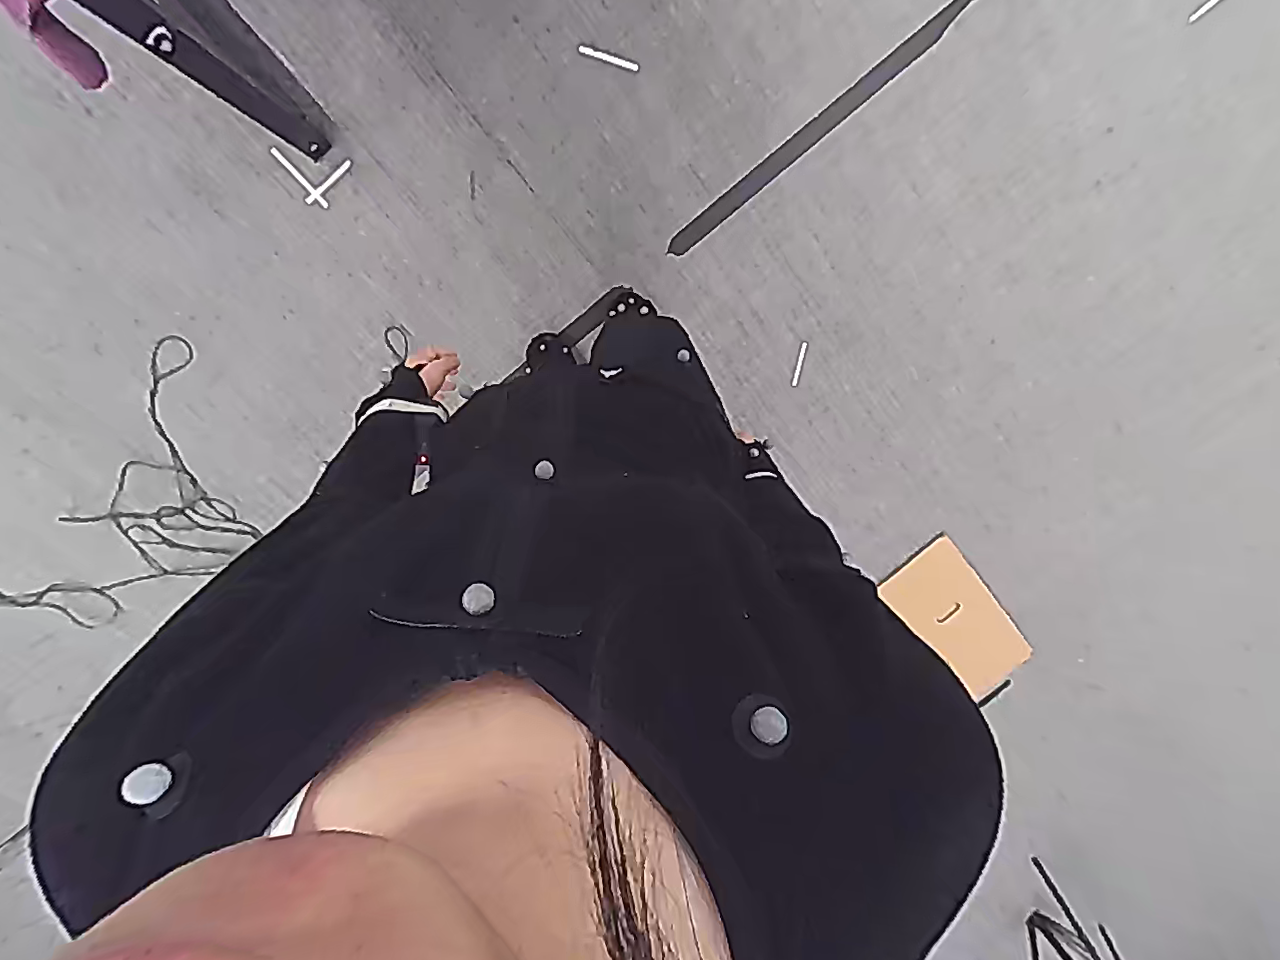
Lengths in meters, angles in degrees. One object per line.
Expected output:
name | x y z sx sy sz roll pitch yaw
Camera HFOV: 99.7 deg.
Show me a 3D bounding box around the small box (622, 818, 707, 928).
small box | 0.056 1.013 1.401 0.179 0.176 0.168 8 103 -8
